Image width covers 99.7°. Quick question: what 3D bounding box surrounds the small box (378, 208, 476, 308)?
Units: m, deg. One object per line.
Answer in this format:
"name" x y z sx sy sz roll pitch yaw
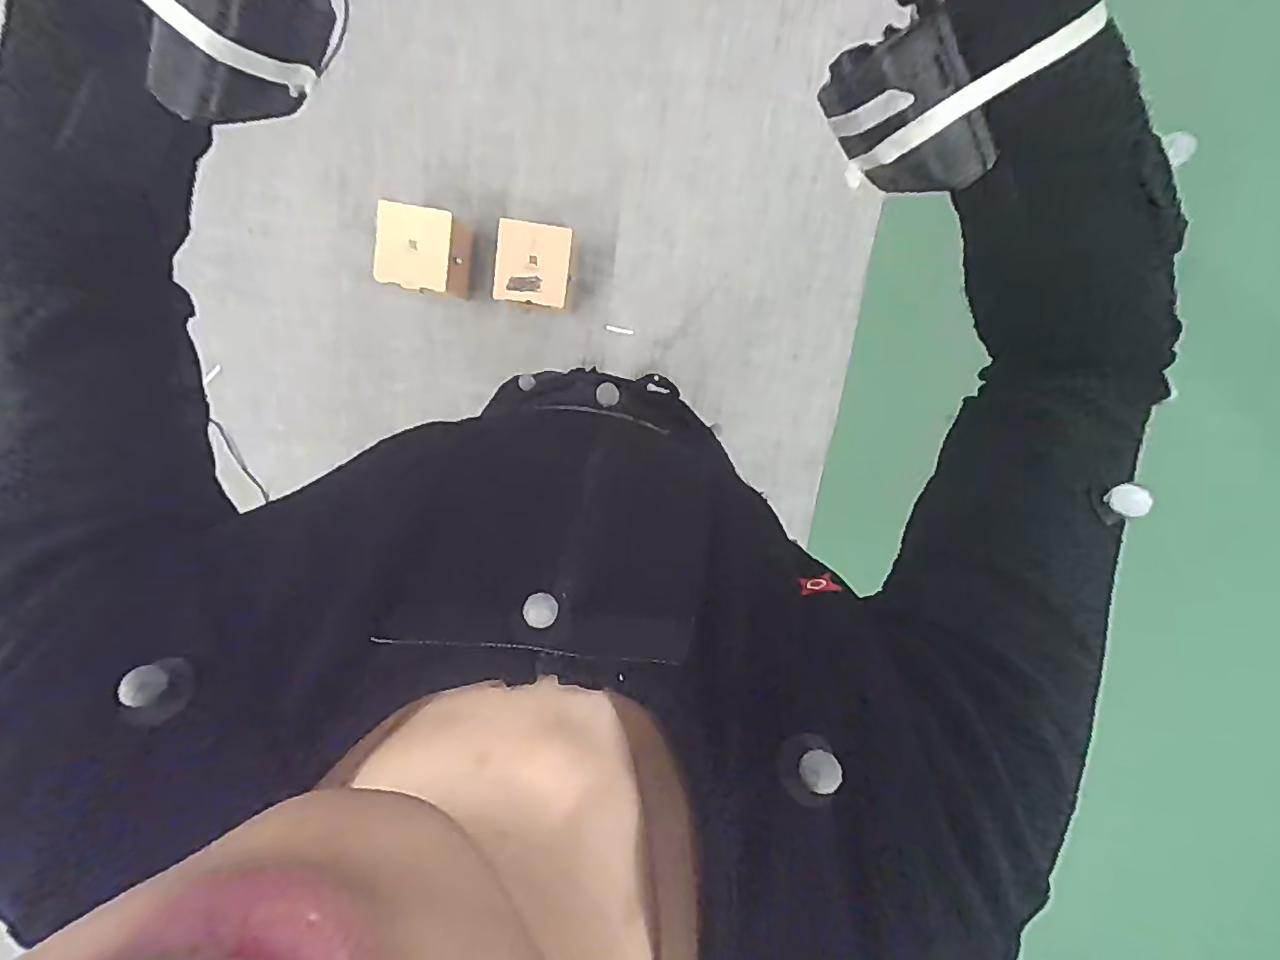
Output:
"small box" -0.504 -0.525 1.298 0.168 0.176 0.179 9 101 -1

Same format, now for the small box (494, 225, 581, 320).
"small box" -0.240 -0.489 1.302 0.168 0.176 0.179 8 100 -1
